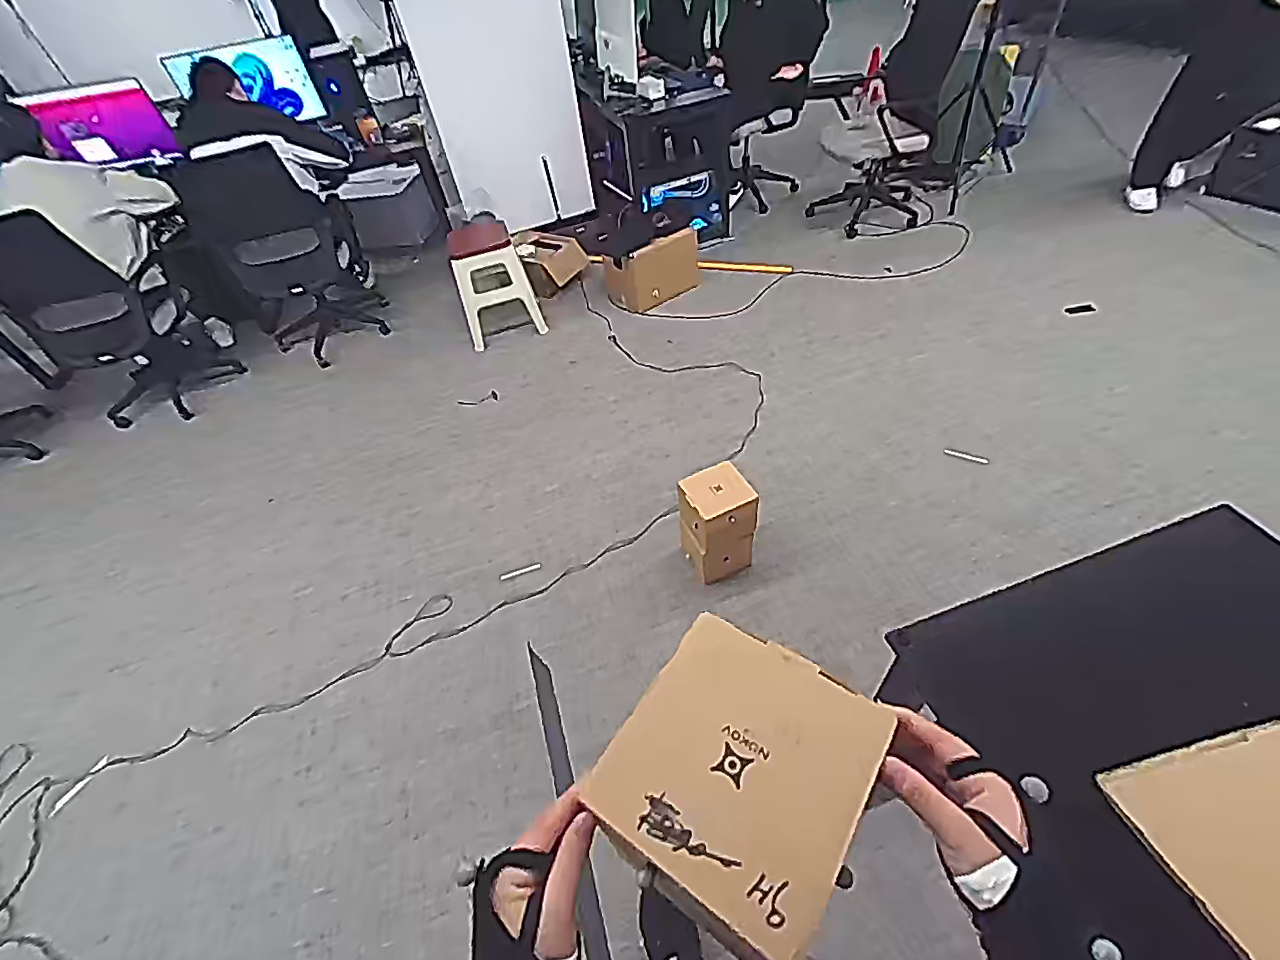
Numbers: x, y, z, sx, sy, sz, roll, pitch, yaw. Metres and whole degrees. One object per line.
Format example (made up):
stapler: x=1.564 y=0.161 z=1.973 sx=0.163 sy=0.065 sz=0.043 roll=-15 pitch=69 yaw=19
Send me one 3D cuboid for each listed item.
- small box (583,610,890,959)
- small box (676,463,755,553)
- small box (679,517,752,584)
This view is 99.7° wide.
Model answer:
small box: x=0.080 y=0.250 z=0.447 sx=0.168 sy=0.176 sz=0.179 roll=22 pitch=52 yaw=30
small box: x=0.223 y=0.087 z=1.593 sx=0.179 sy=0.176 sz=0.168 roll=-22 pitch=49 yaw=-12
small box: x=0.236 y=0.198 z=1.711 sx=0.179 sy=0.176 sz=0.168 roll=-22 pitch=48 yaw=-9
